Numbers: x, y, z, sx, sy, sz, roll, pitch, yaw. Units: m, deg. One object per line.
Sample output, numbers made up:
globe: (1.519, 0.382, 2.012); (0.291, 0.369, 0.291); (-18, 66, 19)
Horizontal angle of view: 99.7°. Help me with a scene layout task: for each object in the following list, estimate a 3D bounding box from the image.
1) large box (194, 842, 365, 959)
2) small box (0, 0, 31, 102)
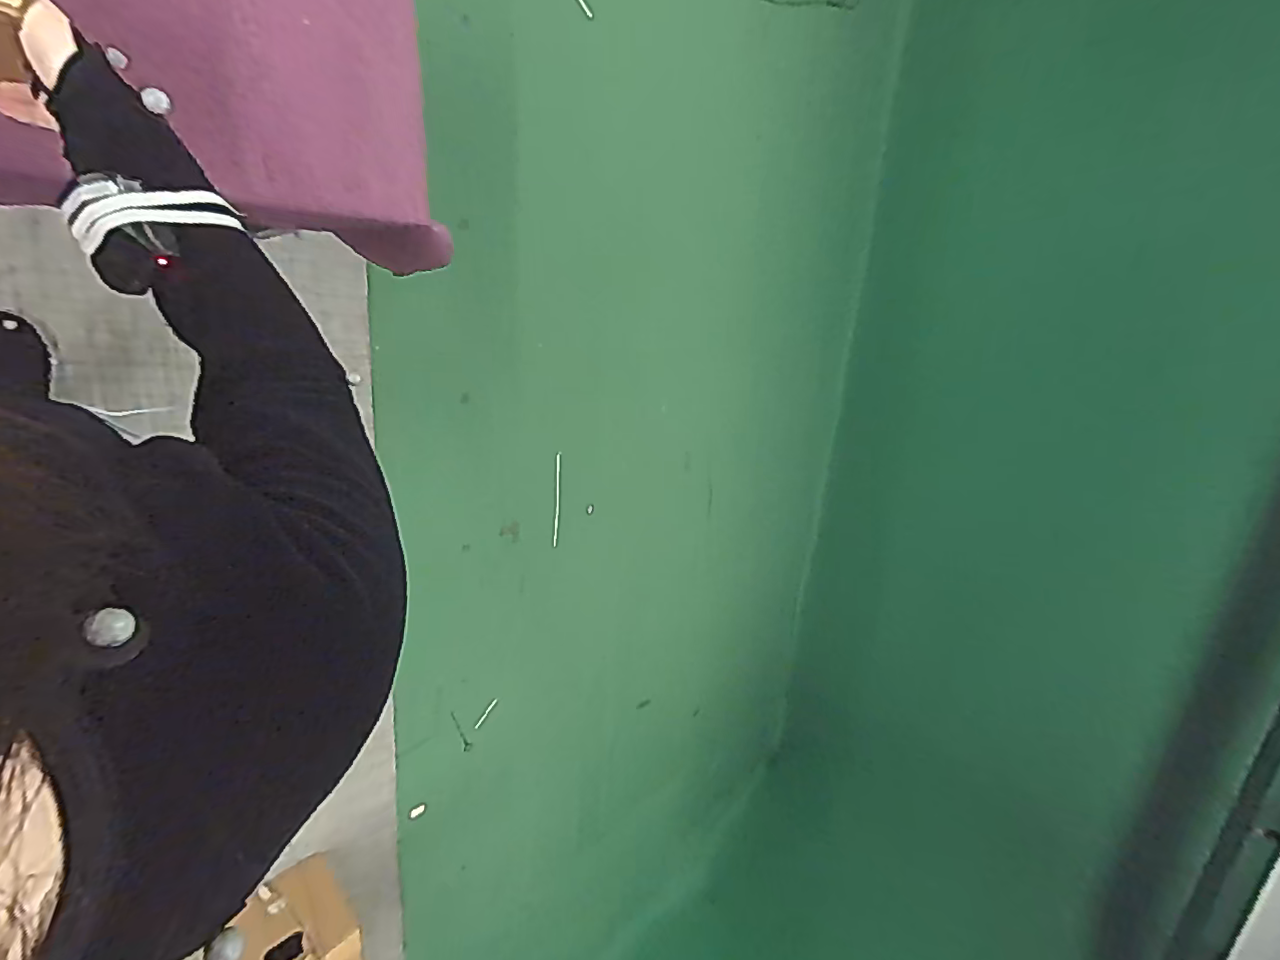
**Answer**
large box: (-1.007, 1.365, 1.538); (0.320, 0.320, 0.408); (-15, 117, -46)
small box: (-0.515, -0.377, 0.334); (0.168, 0.176, 0.179); (-13, 105, -47)
